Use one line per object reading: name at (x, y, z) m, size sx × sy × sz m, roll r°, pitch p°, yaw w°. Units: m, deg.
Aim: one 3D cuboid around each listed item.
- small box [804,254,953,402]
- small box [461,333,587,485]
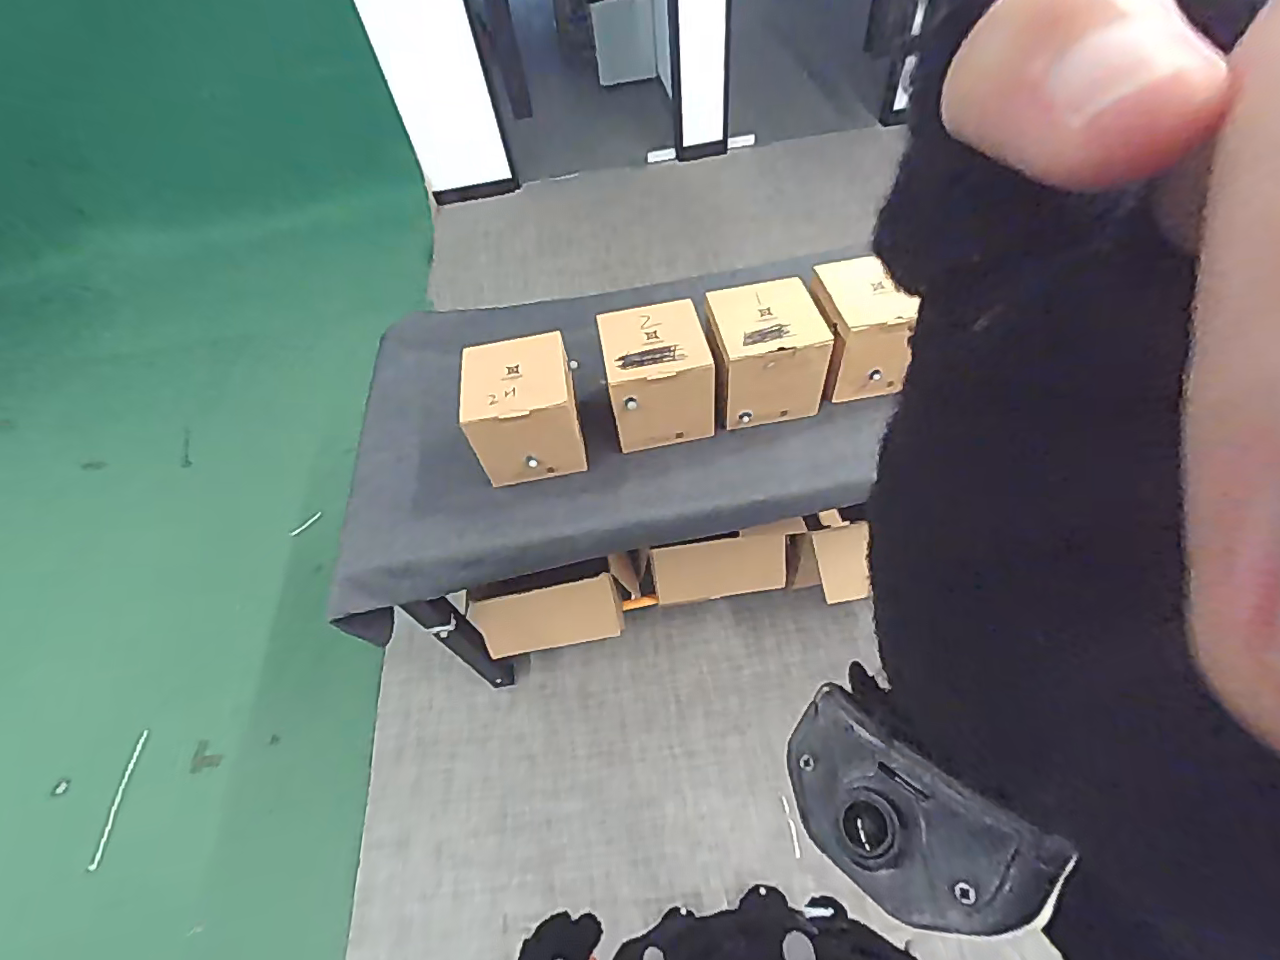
small box at (0.402, -0.265, 0.952) m, size 0.168 × 0.176 × 0.179 m, roll -10°, pitch 54°, yaw 0°
small box at (-0.189, -0.117, 0.911) m, size 0.168 × 0.176 × 0.179 m, roll -10°, pitch 53°, yaw -1°
